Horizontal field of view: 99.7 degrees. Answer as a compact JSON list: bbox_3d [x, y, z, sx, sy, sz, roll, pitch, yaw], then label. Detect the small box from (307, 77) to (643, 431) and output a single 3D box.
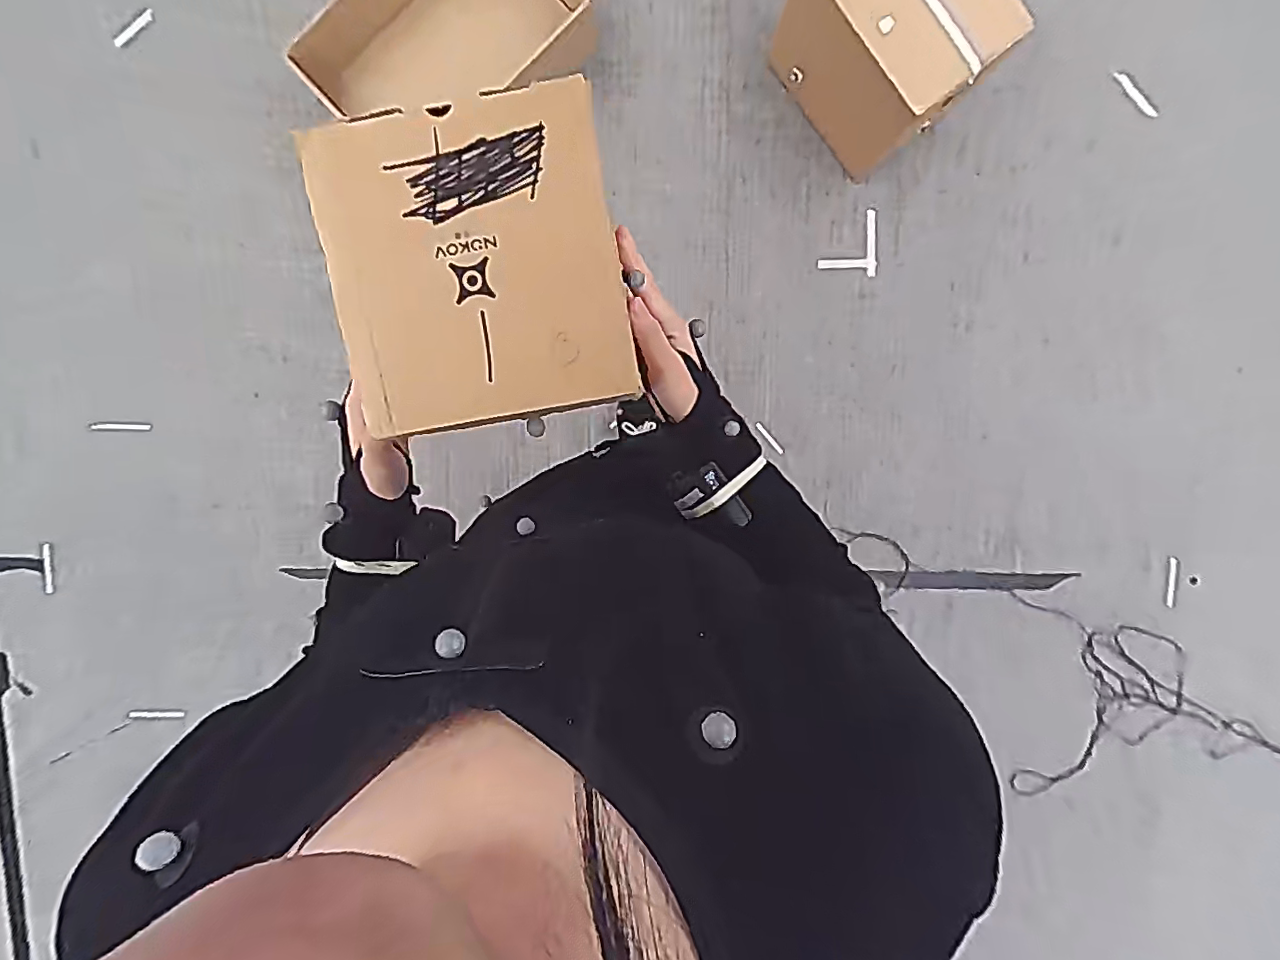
[{"bbox_3d":[-0.092,-0.137,0.390,0.168,0.176,0.179,-10,99,3],"label":"small box"}]
